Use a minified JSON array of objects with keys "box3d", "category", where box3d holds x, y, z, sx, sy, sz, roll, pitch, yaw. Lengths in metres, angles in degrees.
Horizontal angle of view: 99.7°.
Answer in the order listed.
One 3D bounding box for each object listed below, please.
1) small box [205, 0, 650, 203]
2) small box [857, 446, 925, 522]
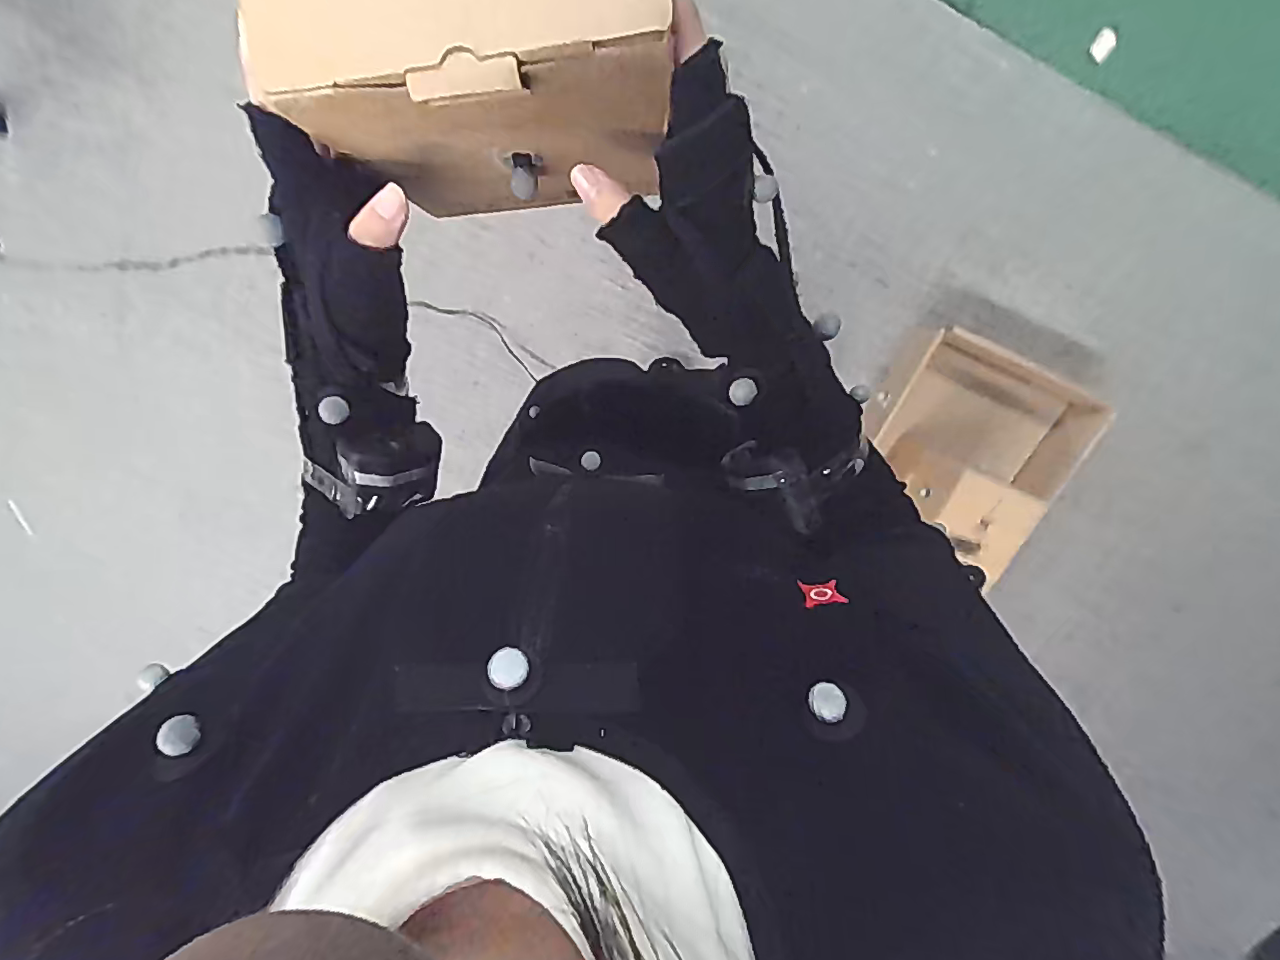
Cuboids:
[{"box3d":[-0.086,-0.256,0.272,0.168,0.176,0.179,-5,101,5],"category":"small box"},{"box3d":[0.634,0.034,1.244,0.179,0.176,0.168,27,107,-3],"category":"small box"}]
